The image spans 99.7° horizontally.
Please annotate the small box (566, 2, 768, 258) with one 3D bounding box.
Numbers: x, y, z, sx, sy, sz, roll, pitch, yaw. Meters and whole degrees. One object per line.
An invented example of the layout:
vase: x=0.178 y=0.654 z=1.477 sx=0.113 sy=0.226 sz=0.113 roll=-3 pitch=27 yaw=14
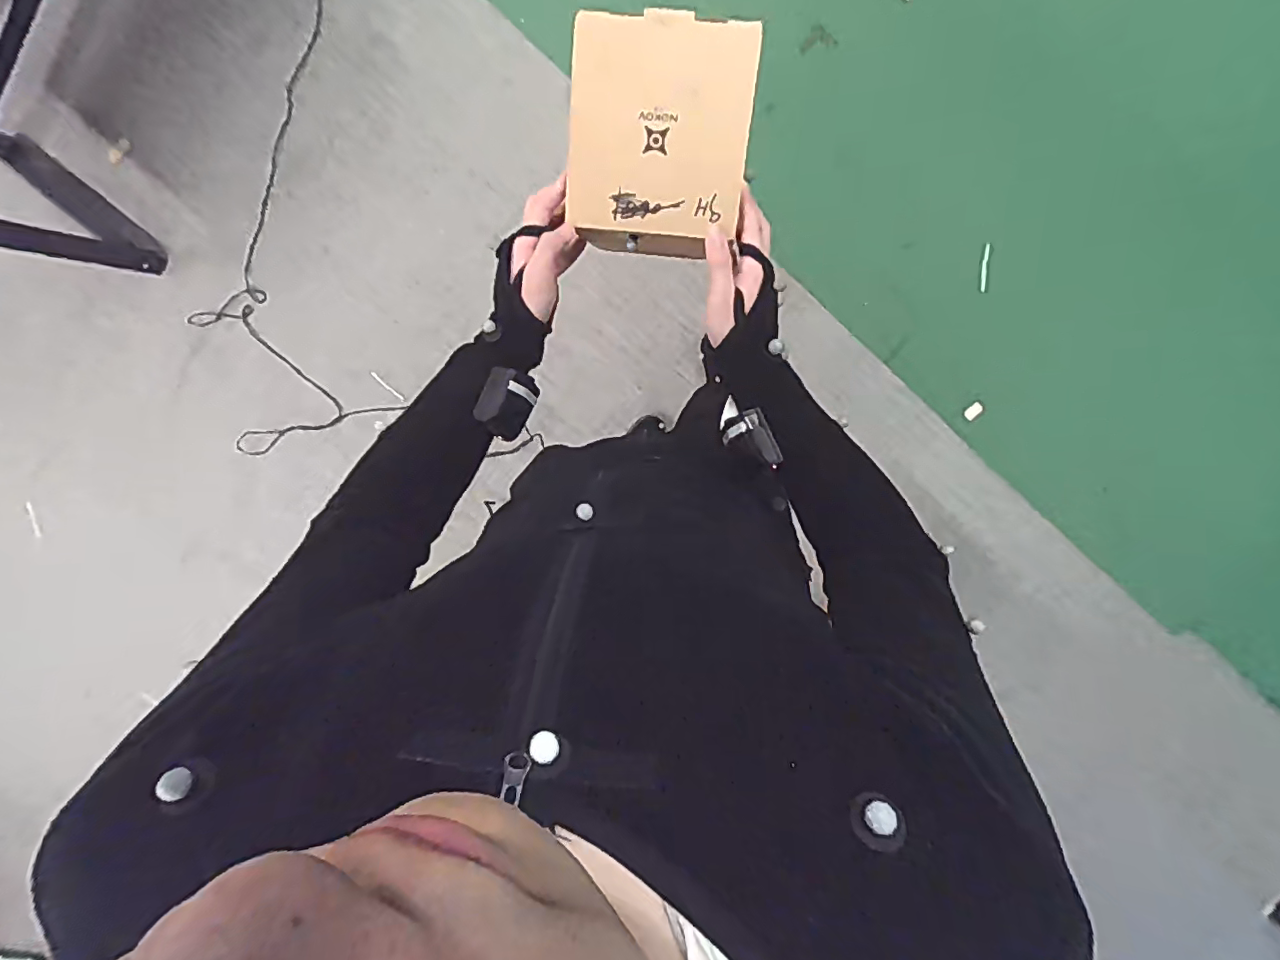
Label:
small box: x=0.026 y=-0.339 z=0.558 sx=0.168 sy=0.176 sz=0.179 roll=7 pitch=107 yaw=4
